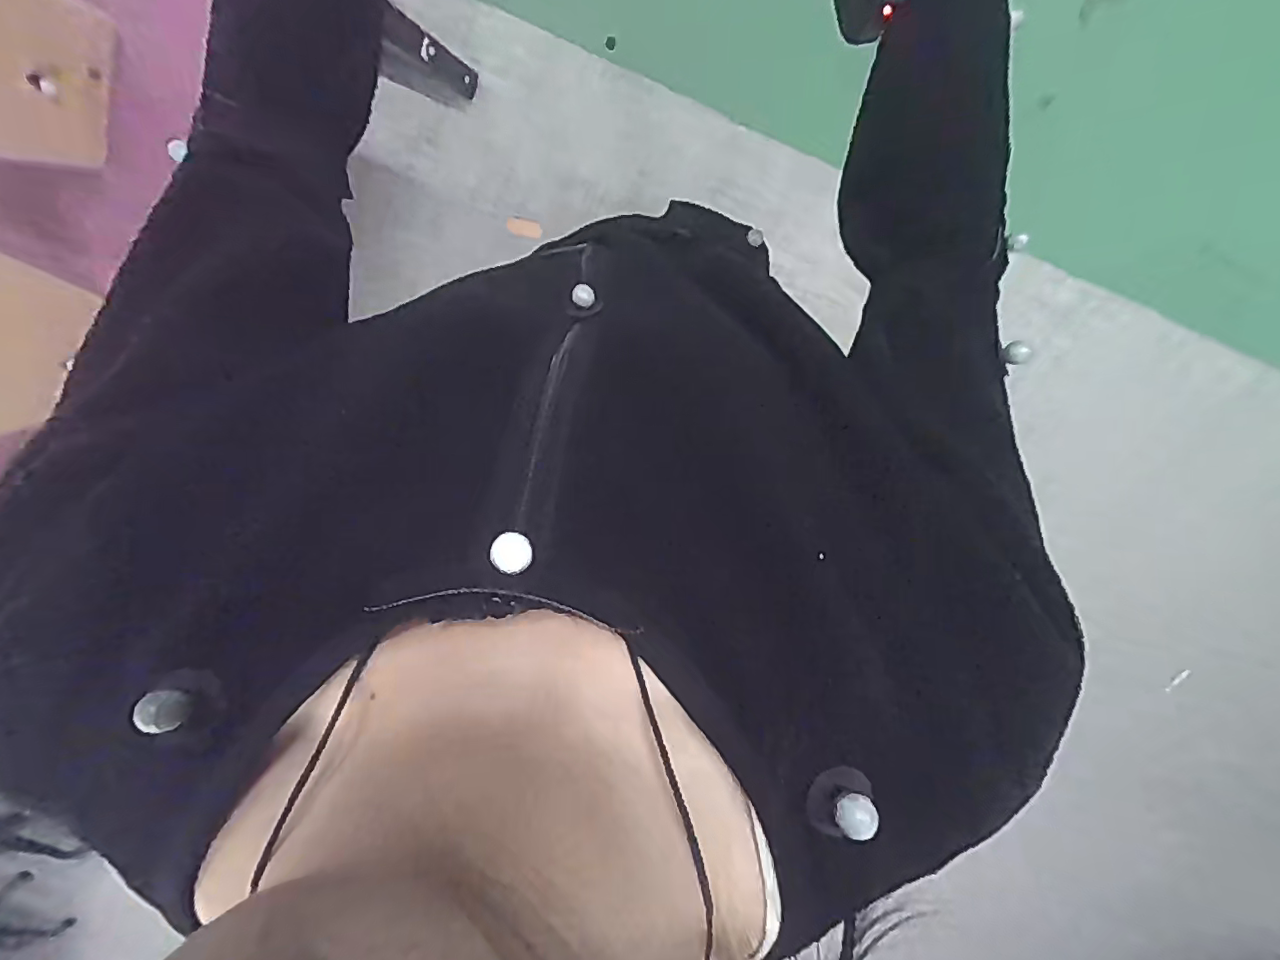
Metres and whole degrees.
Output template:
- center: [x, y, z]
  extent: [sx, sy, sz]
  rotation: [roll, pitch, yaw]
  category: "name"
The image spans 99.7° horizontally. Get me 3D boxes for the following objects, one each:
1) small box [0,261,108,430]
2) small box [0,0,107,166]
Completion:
- center: [-0.833, -0.171, 0.672]
  extent: [0.179, 0.176, 0.168]
  rotation: [24, 113, -7]
  category: "small box"
- center: [-0.702, -0.443, 0.546]
  extent: [0.179, 0.176, 0.168]
  rotation: [25, 113, -7]
  category: "small box"
